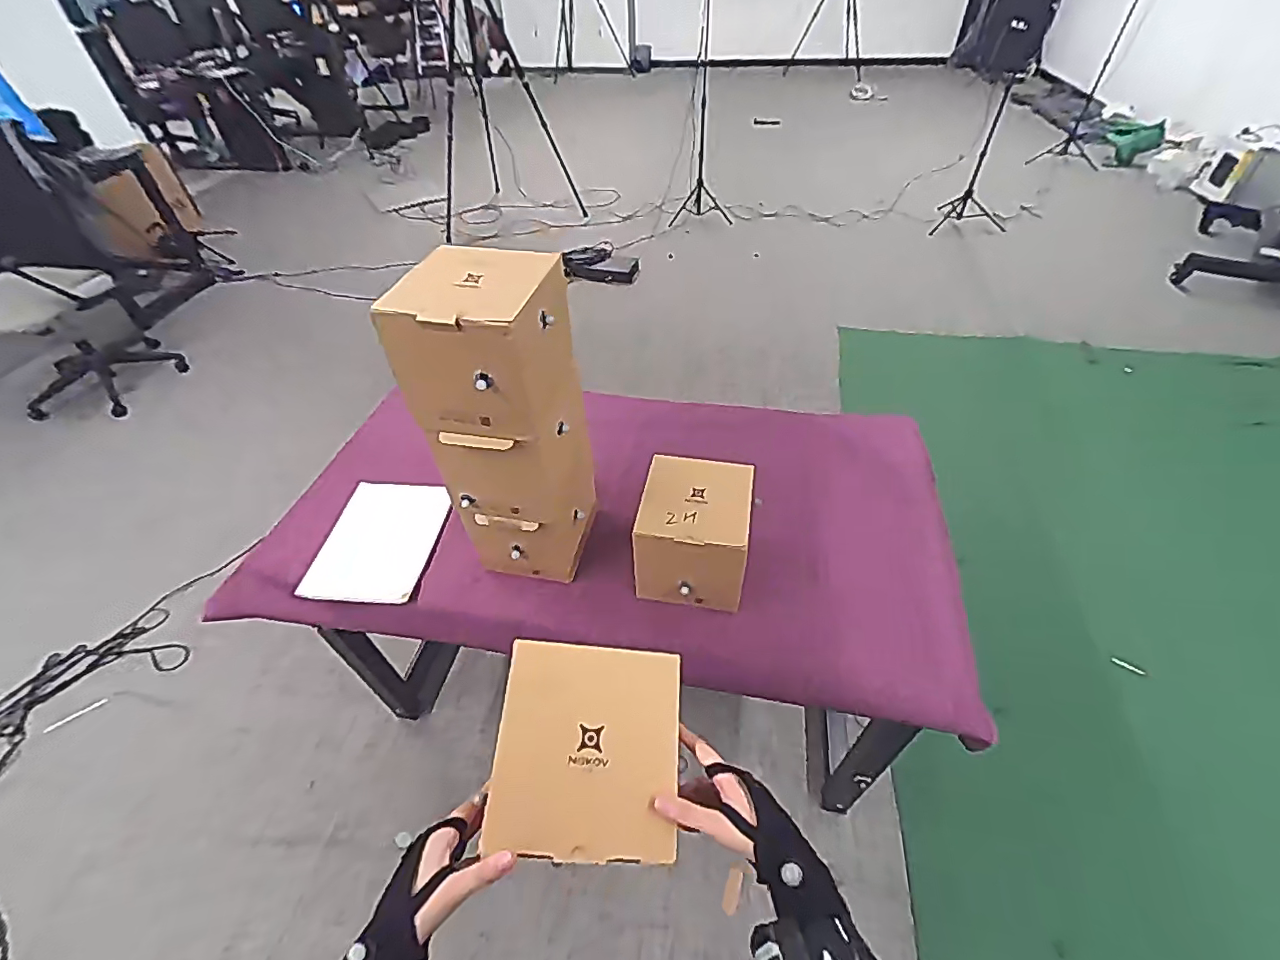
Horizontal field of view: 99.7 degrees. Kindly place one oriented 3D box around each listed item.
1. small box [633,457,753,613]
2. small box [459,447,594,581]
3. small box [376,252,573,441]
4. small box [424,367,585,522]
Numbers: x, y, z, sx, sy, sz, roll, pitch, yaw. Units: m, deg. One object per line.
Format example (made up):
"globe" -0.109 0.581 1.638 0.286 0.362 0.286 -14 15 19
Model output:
"small box" 0.088 0.089 0.883 0.168 0.176 0.179 7 45 10
"small box" -0.180 0.052 0.932 0.168 0.176 0.179 8 47 9
"small box" -0.191 -0.170 0.691 0.168 0.176 0.179 9 46 10
"small box" -0.186 -0.059 0.810 0.168 0.176 0.179 8 45 9
